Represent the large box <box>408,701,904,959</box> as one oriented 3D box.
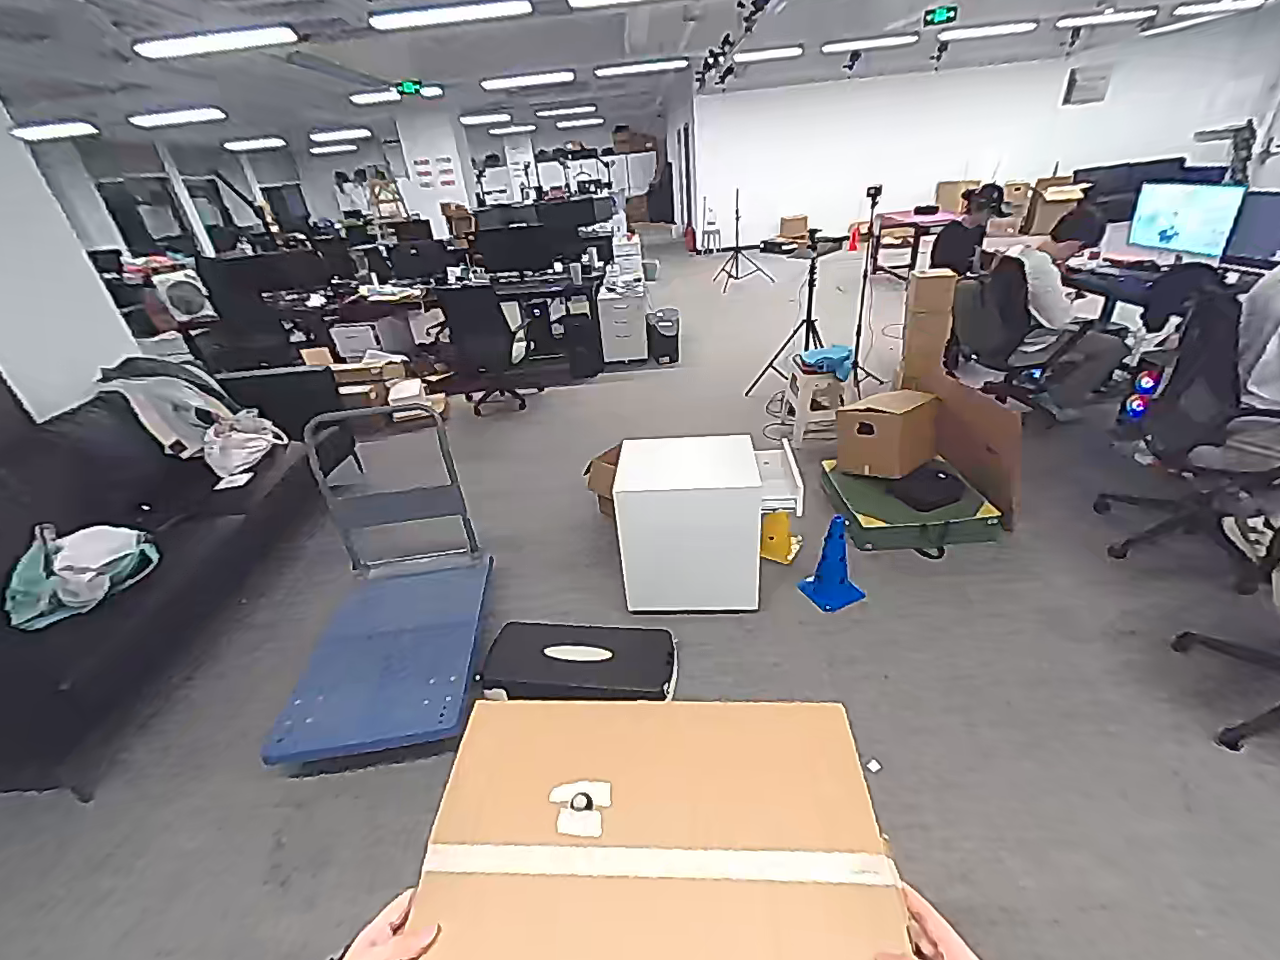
[{"bbox_3d":[0.025,0.461,0.569,0.408,0.320,0.320,-3,36,6],"label":"large box"}]
